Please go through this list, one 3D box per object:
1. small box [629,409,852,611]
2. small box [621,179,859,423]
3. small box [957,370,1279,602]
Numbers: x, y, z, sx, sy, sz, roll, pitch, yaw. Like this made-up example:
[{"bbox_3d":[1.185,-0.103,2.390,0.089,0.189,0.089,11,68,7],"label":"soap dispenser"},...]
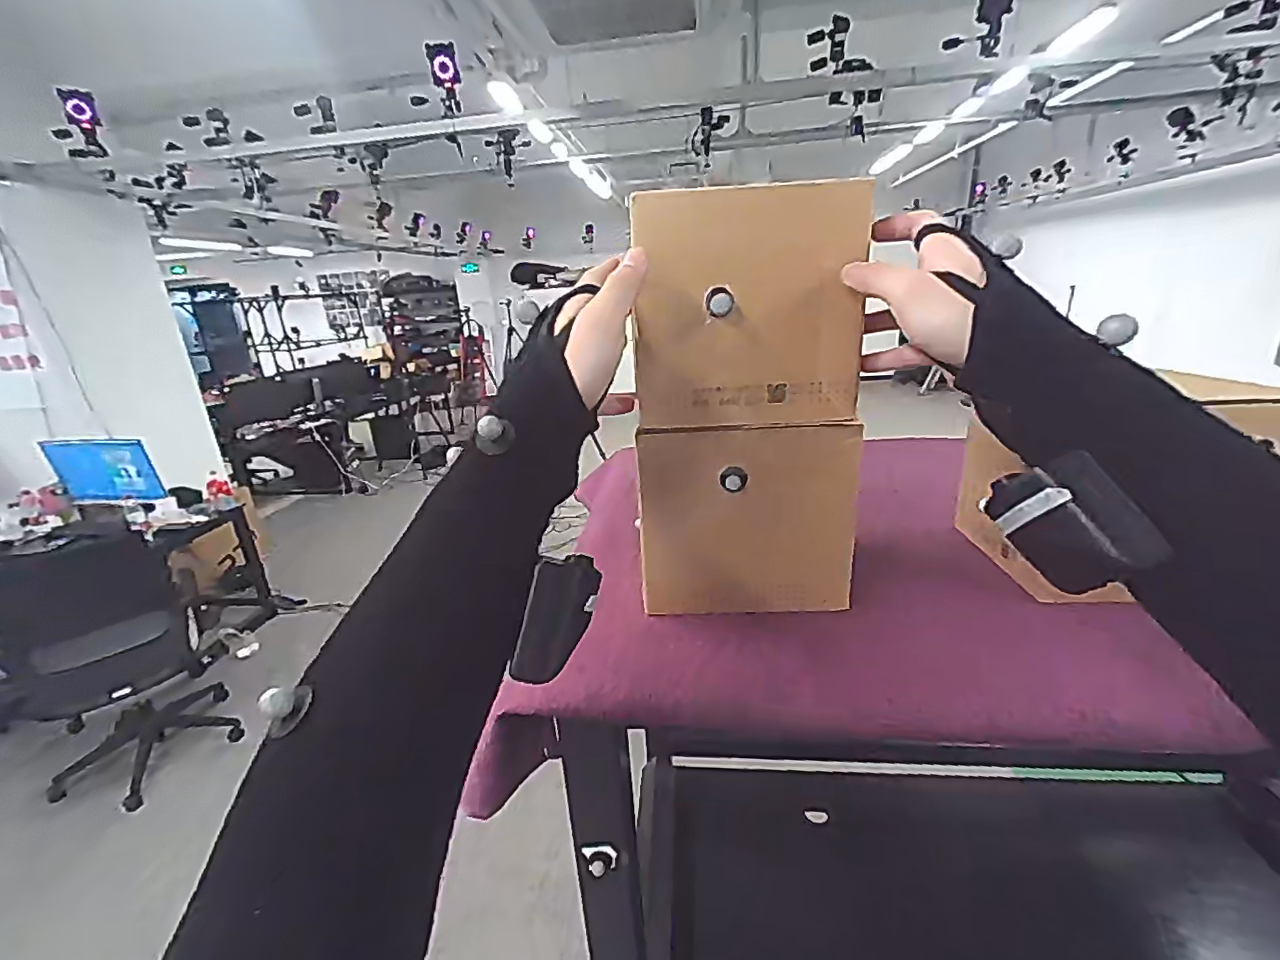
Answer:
[{"bbox_3d":[0.087,0.012,0.515,0.179,0.176,0.168,-2,19,4],"label":"small box"},{"bbox_3d":[0.077,-0.143,0.469,0.168,0.176,0.179,-3,18,3],"label":"small box"},{"bbox_3d":[0.417,-0.001,0.488,0.179,0.176,0.168,-2,17,7],"label":"small box"}]
